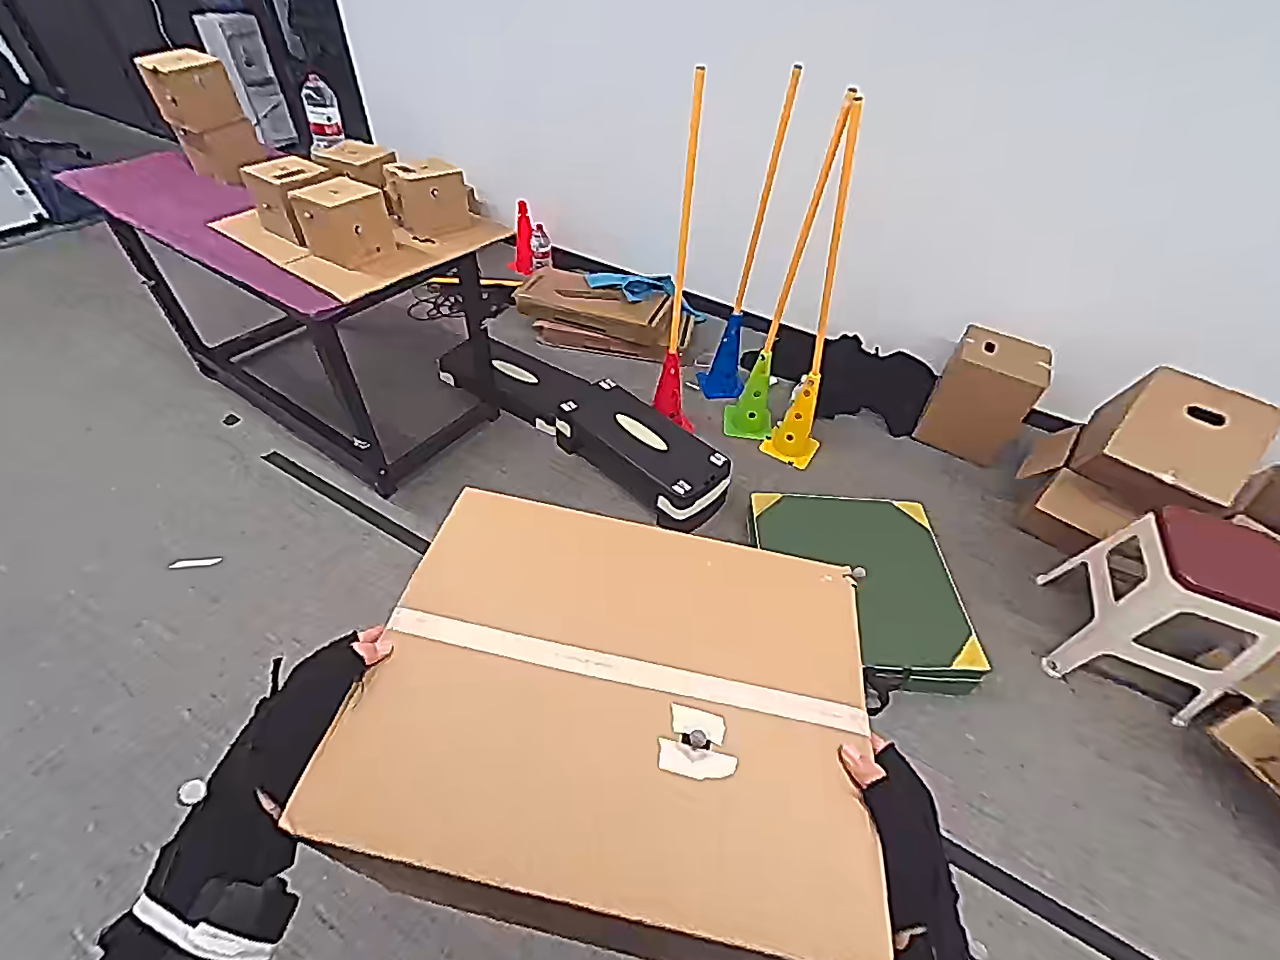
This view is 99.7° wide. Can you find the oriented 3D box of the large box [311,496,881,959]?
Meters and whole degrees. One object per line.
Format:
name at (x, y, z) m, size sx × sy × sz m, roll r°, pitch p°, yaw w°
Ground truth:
large box at (-0.026, 0.262, 0.571) m, size 0.408 × 0.320 × 0.320 m, roll 12°, pitch 48°, yaw 2°
